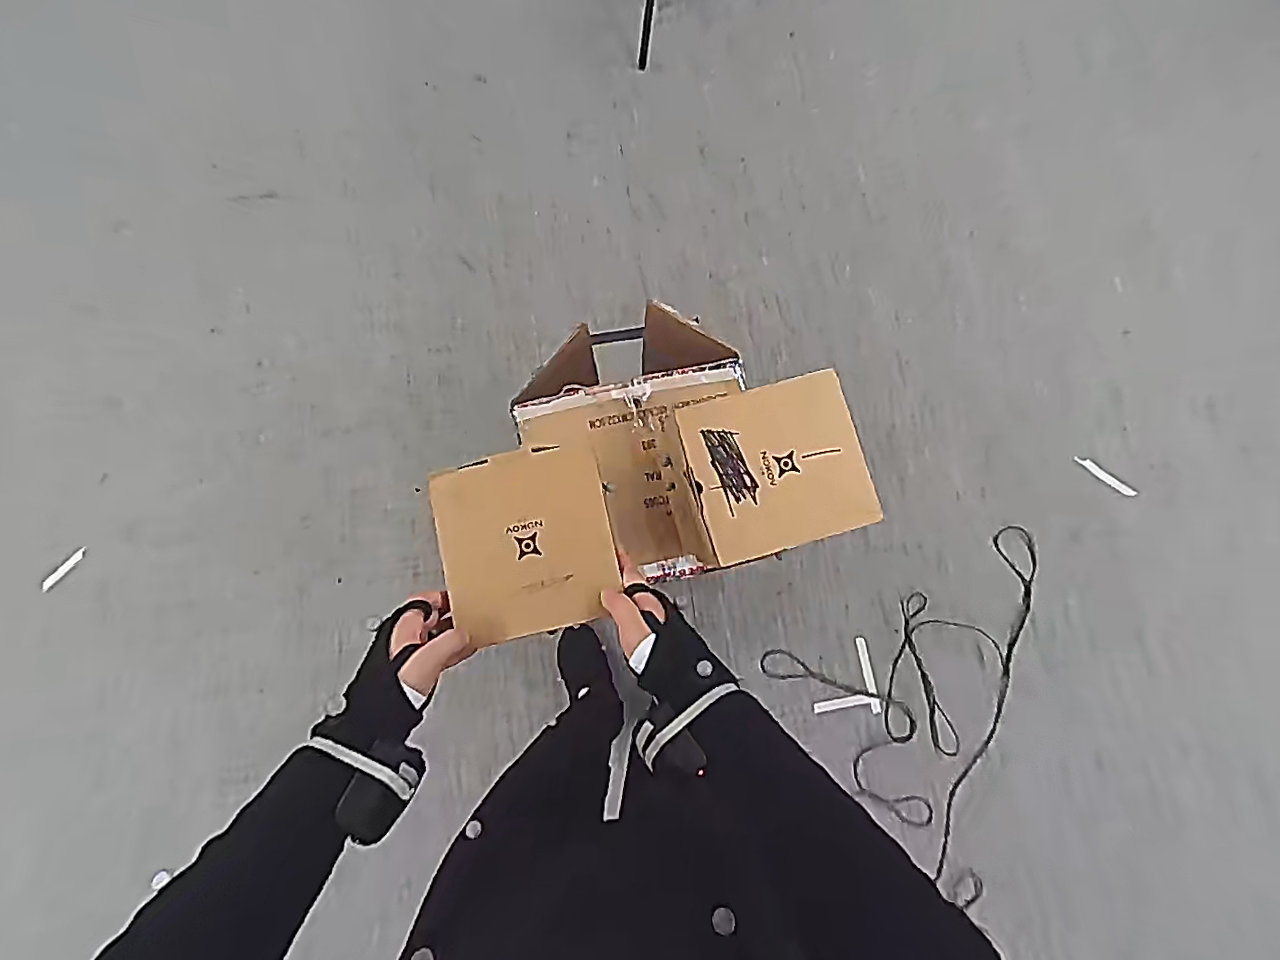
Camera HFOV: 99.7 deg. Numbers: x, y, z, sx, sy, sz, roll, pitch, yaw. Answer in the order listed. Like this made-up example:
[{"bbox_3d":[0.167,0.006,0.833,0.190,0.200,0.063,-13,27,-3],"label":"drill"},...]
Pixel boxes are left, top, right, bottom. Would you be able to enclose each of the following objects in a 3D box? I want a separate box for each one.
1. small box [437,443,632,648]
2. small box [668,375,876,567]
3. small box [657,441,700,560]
[{"bbox_3d":[-0.110,0.073,0.614,0.168,0.176,0.179,-13,84,-4],"label":"small box"},{"bbox_3d":[0.135,-0.001,0.630,0.179,0.176,0.168,-16,85,-3],"label":"small box"},{"bbox_3d":[0.132,0.012,0.796,0.179,0.176,0.168,-16,84,-2],"label":"small box"}]
